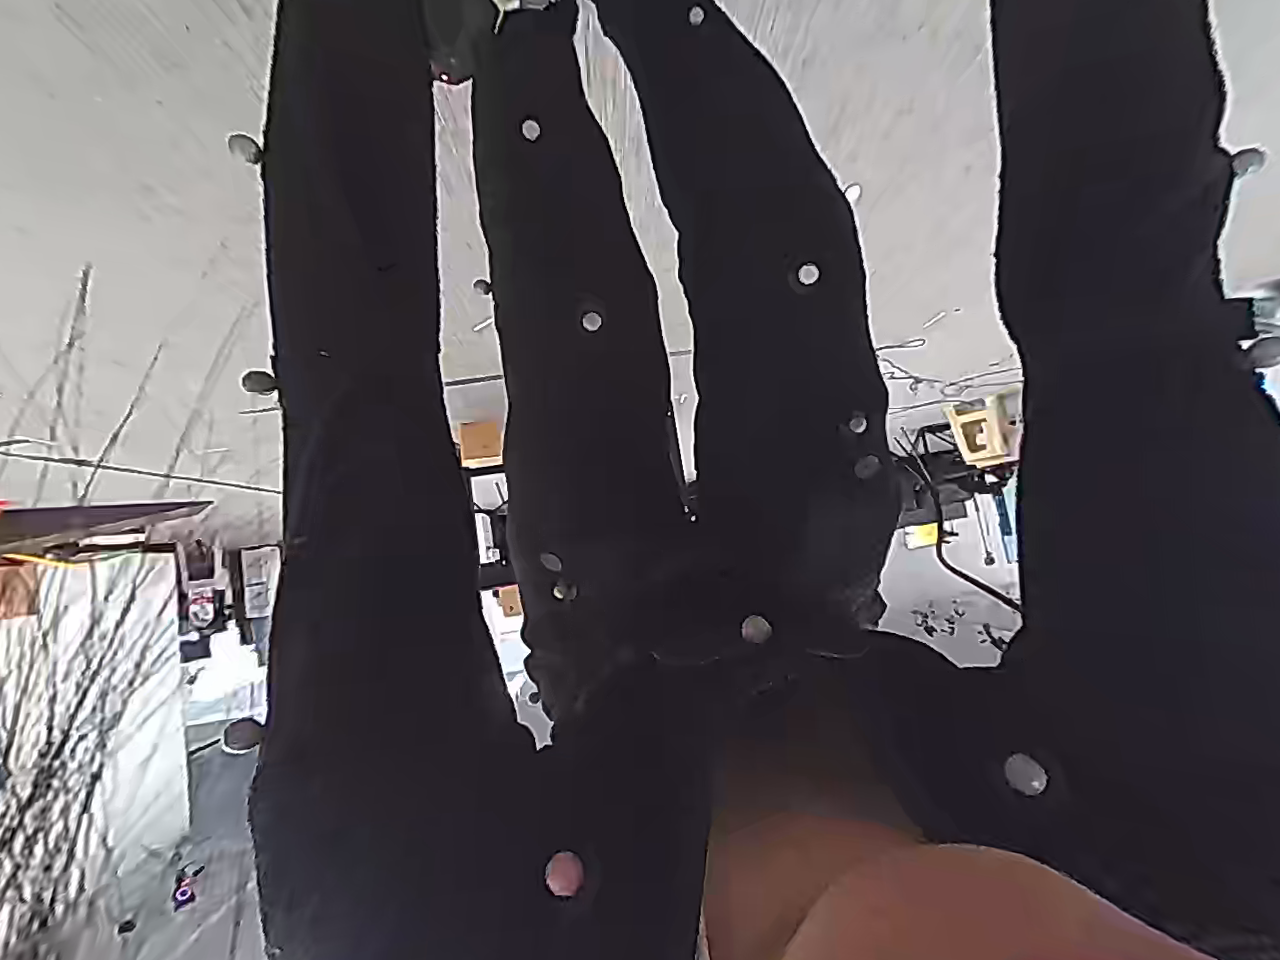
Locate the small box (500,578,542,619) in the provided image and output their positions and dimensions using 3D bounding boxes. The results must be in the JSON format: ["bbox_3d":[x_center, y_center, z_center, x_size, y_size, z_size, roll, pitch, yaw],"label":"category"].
[{"bbox_3d":[-0.585,0.578,2.657,0.179,0.176,0.168,-9,174,-6],"label":"small box"}]

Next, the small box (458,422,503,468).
[{"bbox_3d":[-0.736,-0.163,2.486,0.179,0.176,0.168,-8,173,-21],"label":"small box"}]
